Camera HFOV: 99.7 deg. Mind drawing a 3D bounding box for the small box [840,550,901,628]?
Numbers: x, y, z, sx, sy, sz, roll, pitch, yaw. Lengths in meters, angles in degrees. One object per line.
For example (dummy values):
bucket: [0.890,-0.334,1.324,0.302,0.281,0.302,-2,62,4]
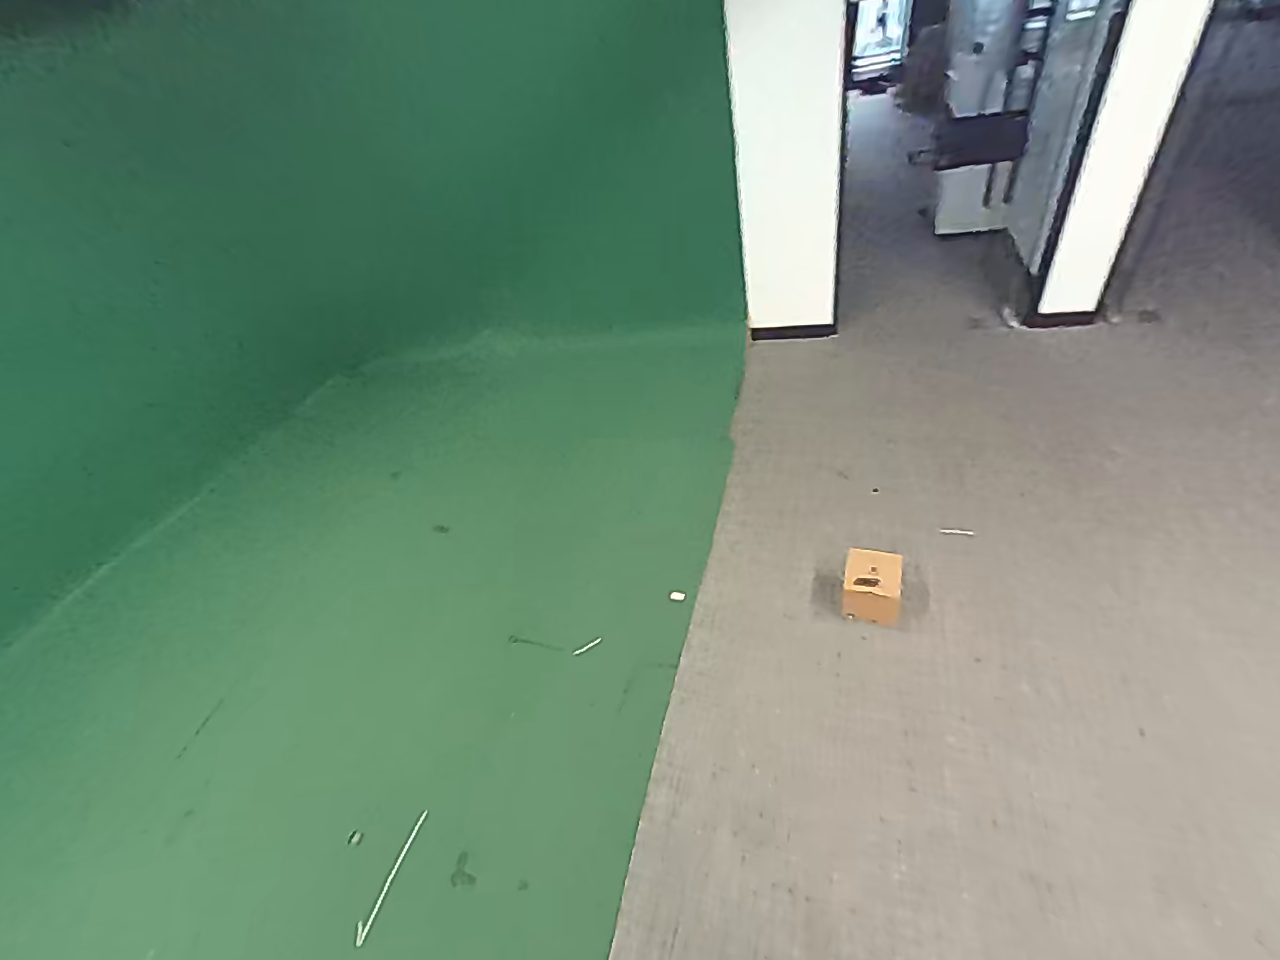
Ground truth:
small box: [0.761,0.362,1.789,0.168,0.176,0.179,7,46,23]
